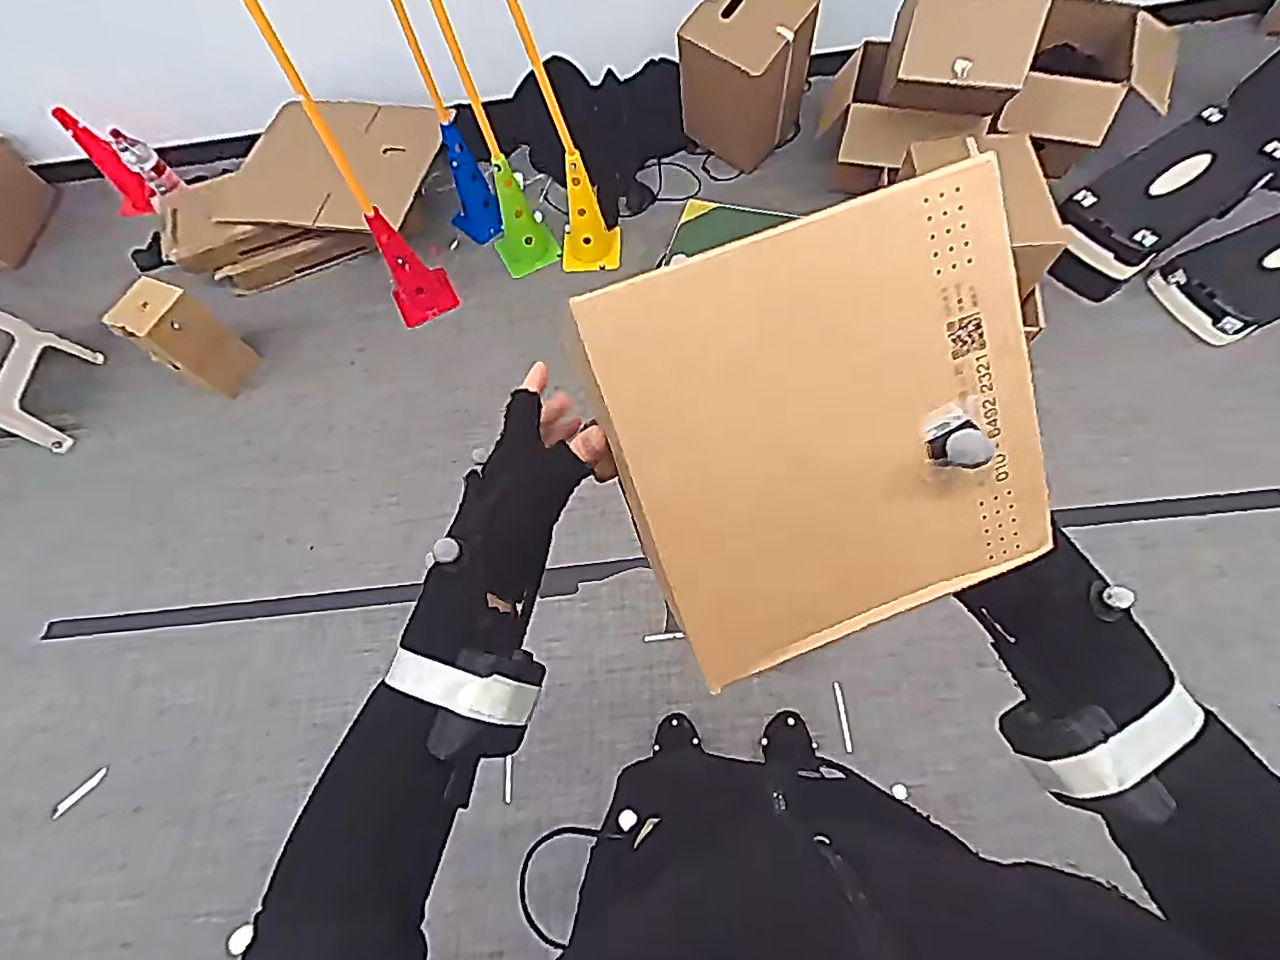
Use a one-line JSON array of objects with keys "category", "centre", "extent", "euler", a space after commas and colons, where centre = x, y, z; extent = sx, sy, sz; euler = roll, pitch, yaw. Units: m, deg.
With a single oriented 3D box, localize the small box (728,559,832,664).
[{"category": "small box", "centre": [0.327, 0.322, 1.299], "extent": [0.179, 0.176, 0.168], "euler": [-36, 68, -10]}]
